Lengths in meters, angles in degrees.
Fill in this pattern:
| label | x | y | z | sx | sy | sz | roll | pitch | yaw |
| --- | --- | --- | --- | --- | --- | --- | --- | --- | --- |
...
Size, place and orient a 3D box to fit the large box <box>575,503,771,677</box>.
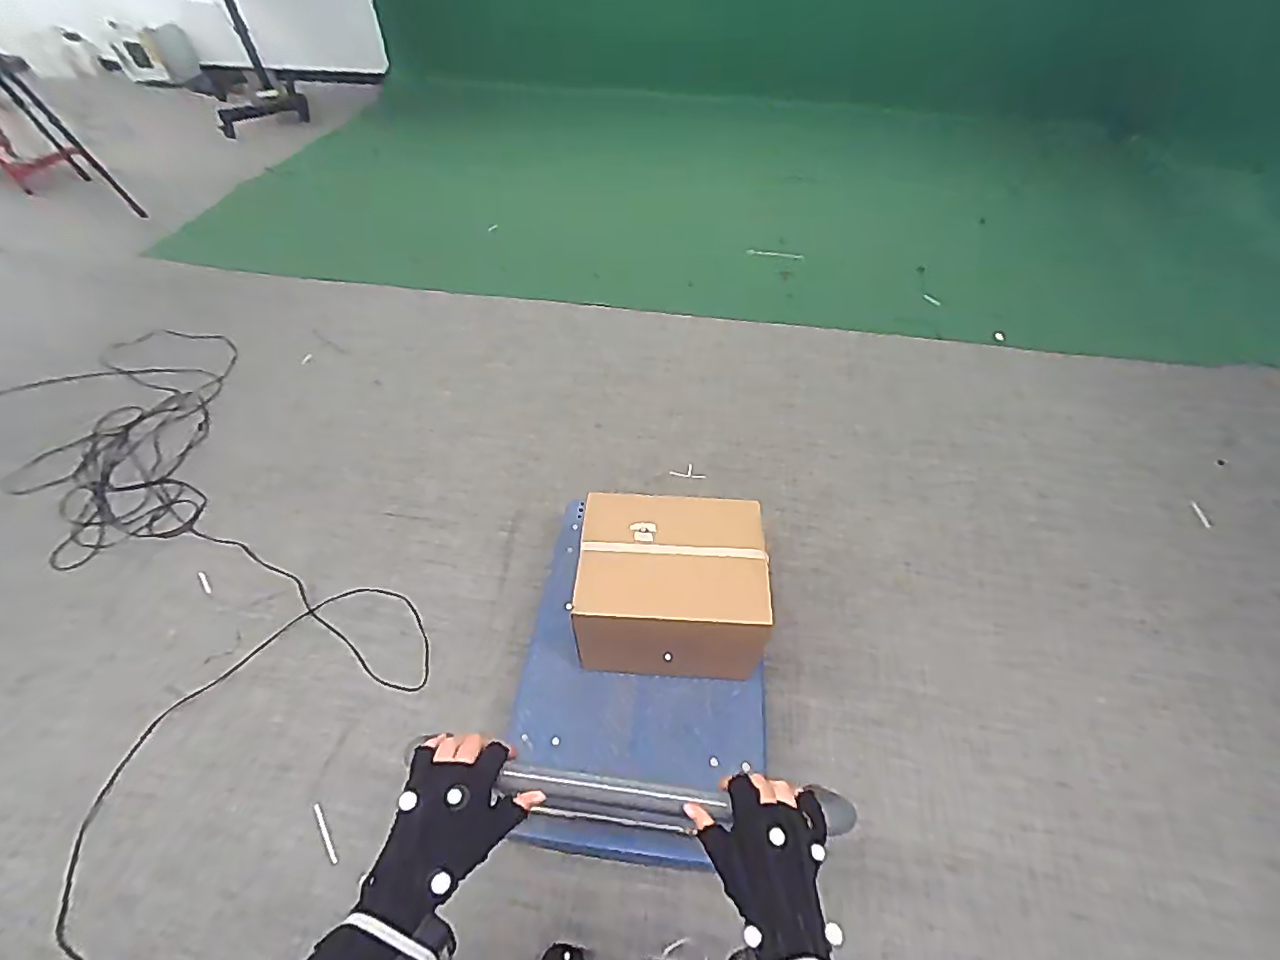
| label | x | y | z | sx | sy | sz | roll | pitch | yaw |
| --- | --- | --- | --- | --- | --- | --- | --- | --- | --- |
| large box | 0.073 | 0.267 | 1.297 | 0.408 | 0.320 | 0.320 | 1 | 50 | 2 |
